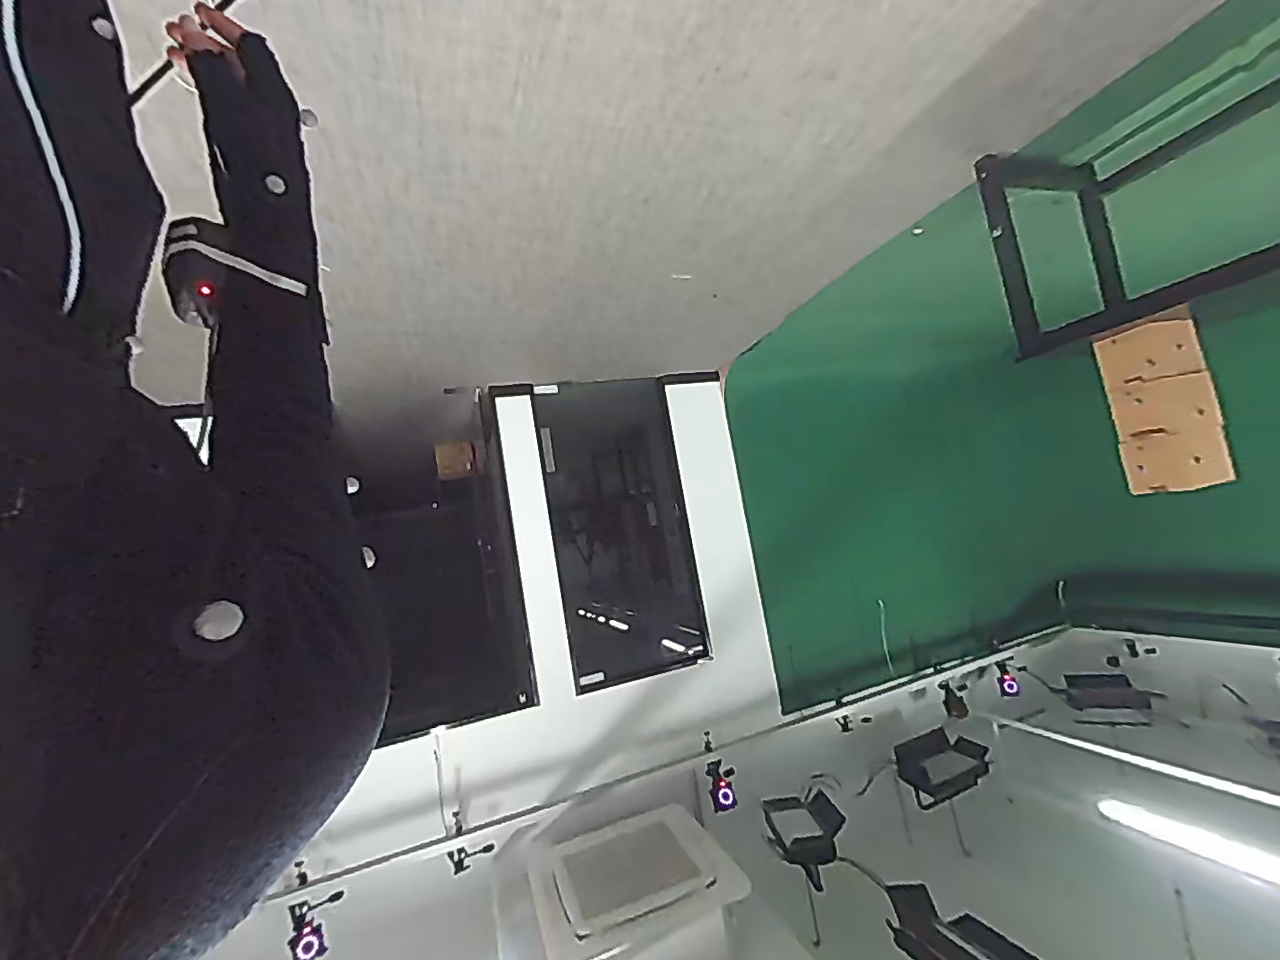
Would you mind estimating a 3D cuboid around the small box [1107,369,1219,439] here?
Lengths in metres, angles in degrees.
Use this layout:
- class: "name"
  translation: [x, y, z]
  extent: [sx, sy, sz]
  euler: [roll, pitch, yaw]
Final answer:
- class: "small box"
  translation: [1.589, -0.232, 1.648]
  extent: [0.179, 0.176, 0.168]
  euler: [-9, 174, -13]

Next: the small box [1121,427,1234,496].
- class: "small box"
  translation: [1.620, -0.055, 1.639]
  extent: [0.179, 0.176, 0.168]
  euler: [-10, 175, -13]
